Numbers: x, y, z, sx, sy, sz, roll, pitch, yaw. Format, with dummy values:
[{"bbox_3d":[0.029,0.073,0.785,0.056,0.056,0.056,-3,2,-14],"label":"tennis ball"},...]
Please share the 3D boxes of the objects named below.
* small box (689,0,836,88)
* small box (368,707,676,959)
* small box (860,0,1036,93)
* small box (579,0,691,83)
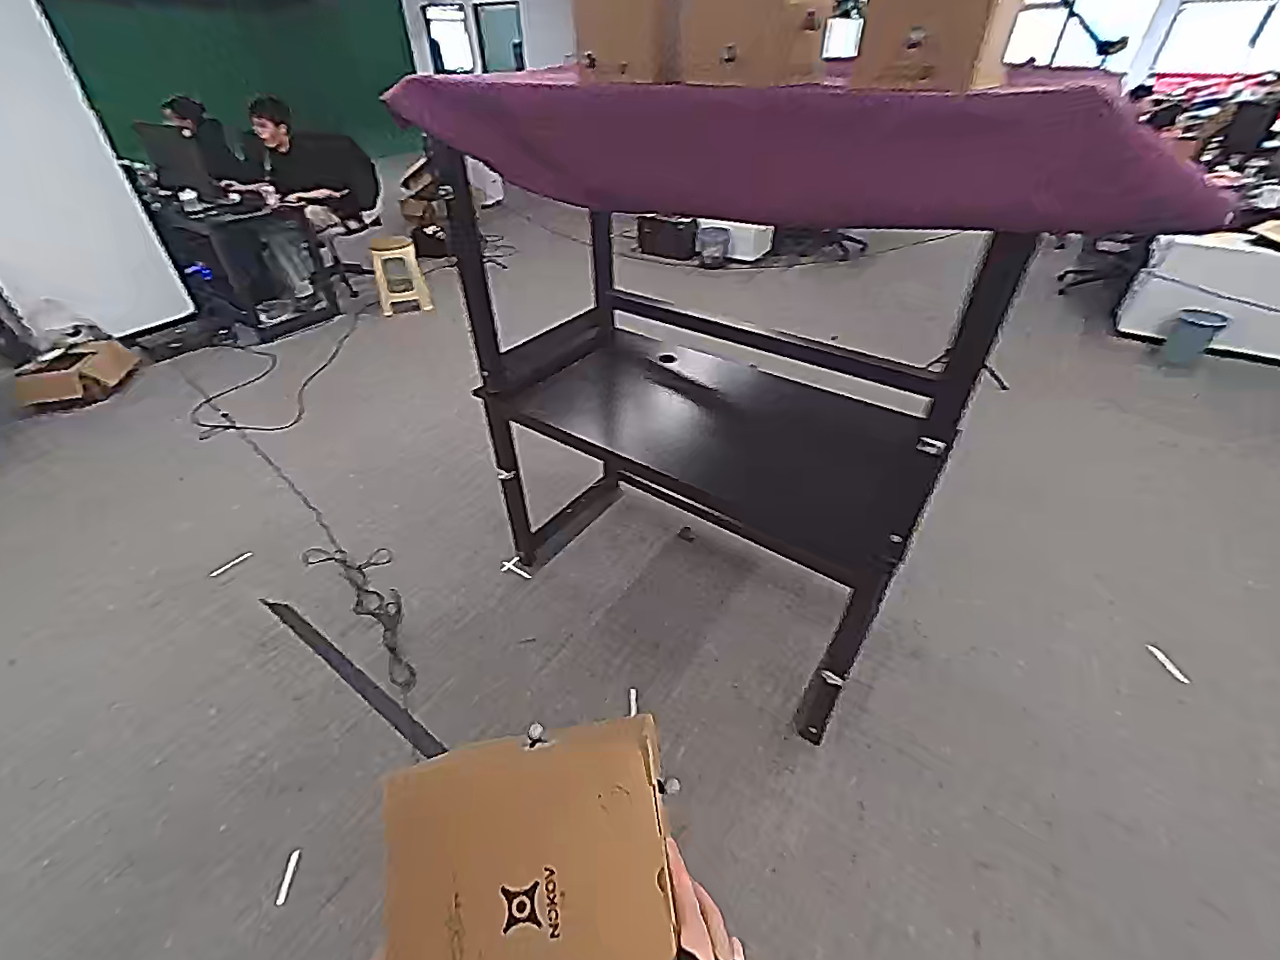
[{"bbox_3d":[0.194,-0.719,0.840,0.179,0.176,0.168,27,46,29],"label":"small box"},{"bbox_3d":[-0.073,0.269,0.397,0.179,0.176,0.168,-9,70,-1],"label":"small box"},{"bbox_3d":[0.414,-0.625,0.717,0.168,0.176,0.179,26,45,30],"label":"small box"},{"bbox_3d":[0.007,-0.805,0.951,0.168,0.176,0.179,22,43,25],"label":"small box"}]
